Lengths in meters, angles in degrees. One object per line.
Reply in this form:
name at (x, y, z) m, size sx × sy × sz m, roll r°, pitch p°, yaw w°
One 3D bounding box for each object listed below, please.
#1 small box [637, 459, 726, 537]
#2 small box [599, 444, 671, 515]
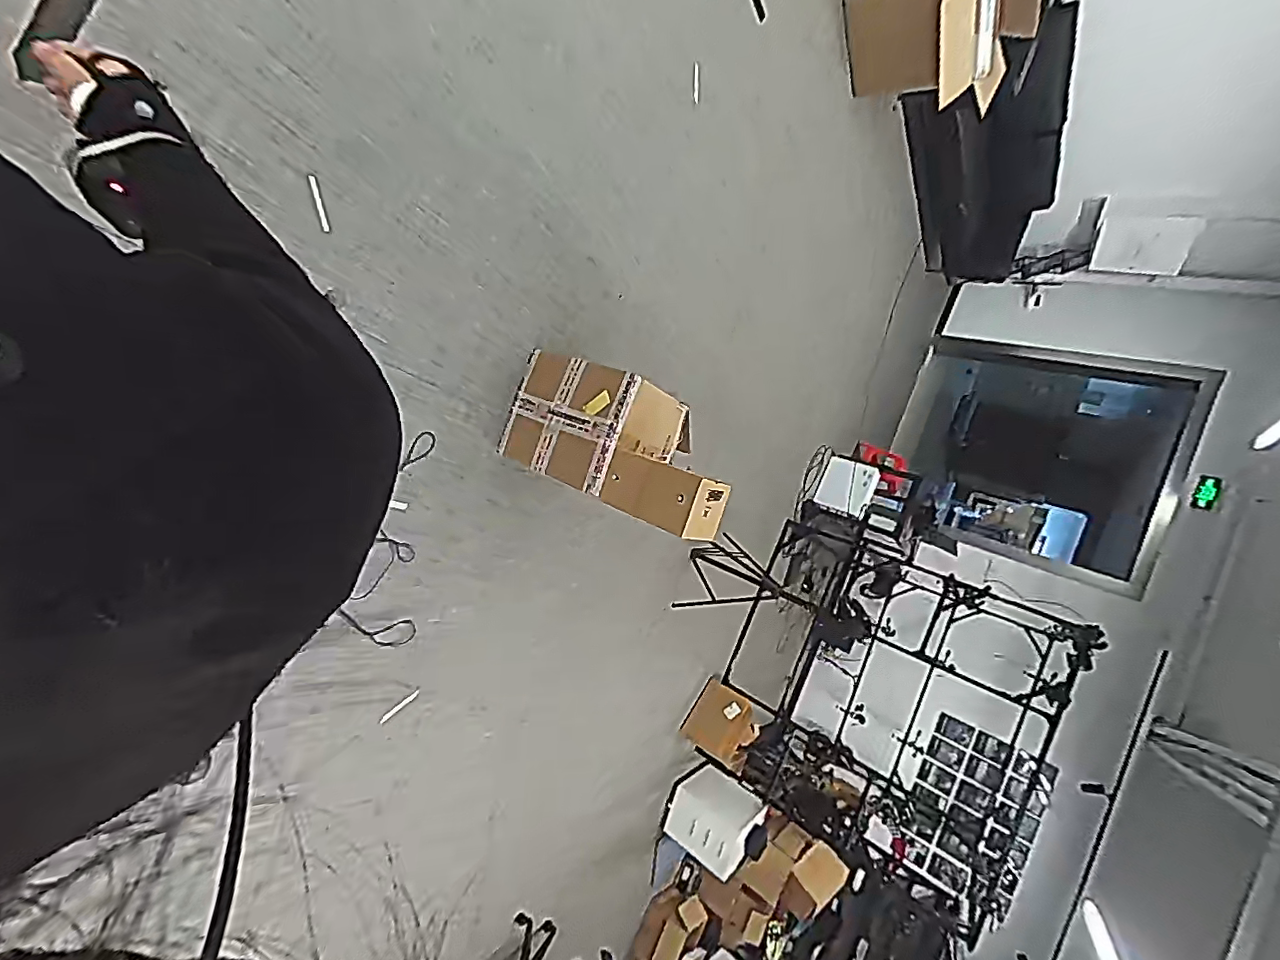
small box at (0.116, 0.050, 1.555) m, size 0.168 × 0.176 × 0.179 m, roll 13°, pitch 97°, yaw -51°
small box at (-0.002, 0.004, 1.662) m, size 0.168 × 0.176 × 0.179 m, roll 13°, pitch 98°, yaw -51°
